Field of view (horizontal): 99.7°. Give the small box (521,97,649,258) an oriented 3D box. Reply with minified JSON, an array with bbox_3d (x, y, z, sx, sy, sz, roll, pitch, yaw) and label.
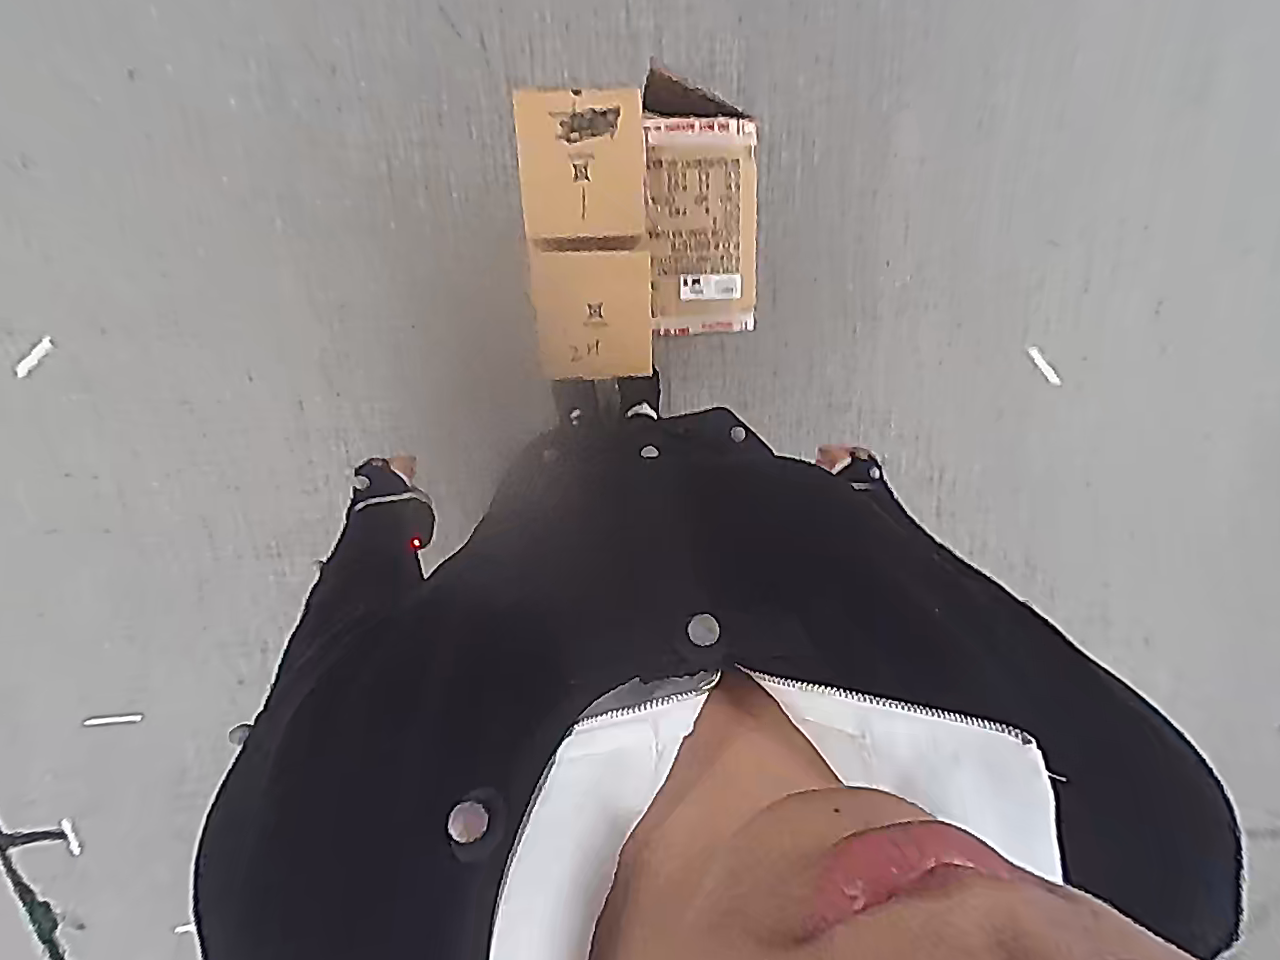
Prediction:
[{"bbox_3d":[-0.076,-0.432,0.797,0.168,0.176,0.179,-3,108,-2],"label":"small box"}]
